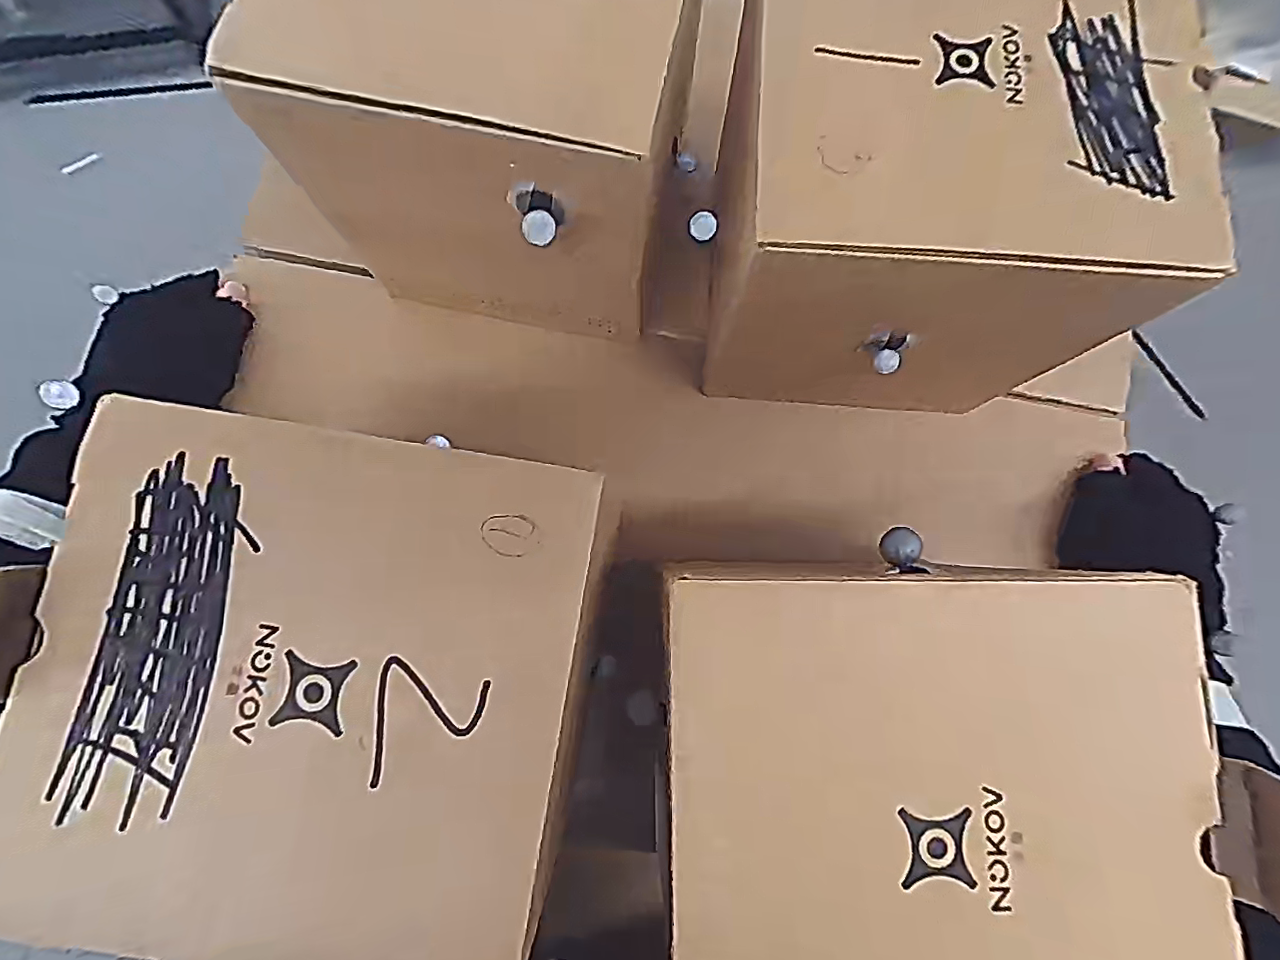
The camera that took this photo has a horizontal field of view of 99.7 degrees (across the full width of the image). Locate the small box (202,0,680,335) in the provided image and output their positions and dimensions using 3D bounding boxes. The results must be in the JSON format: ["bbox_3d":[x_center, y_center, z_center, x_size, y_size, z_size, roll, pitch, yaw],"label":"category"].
[{"bbox_3d":[-0.077,-0.201,0.308,0.179,0.176,0.168,12,79,2],"label":"small box"}]
